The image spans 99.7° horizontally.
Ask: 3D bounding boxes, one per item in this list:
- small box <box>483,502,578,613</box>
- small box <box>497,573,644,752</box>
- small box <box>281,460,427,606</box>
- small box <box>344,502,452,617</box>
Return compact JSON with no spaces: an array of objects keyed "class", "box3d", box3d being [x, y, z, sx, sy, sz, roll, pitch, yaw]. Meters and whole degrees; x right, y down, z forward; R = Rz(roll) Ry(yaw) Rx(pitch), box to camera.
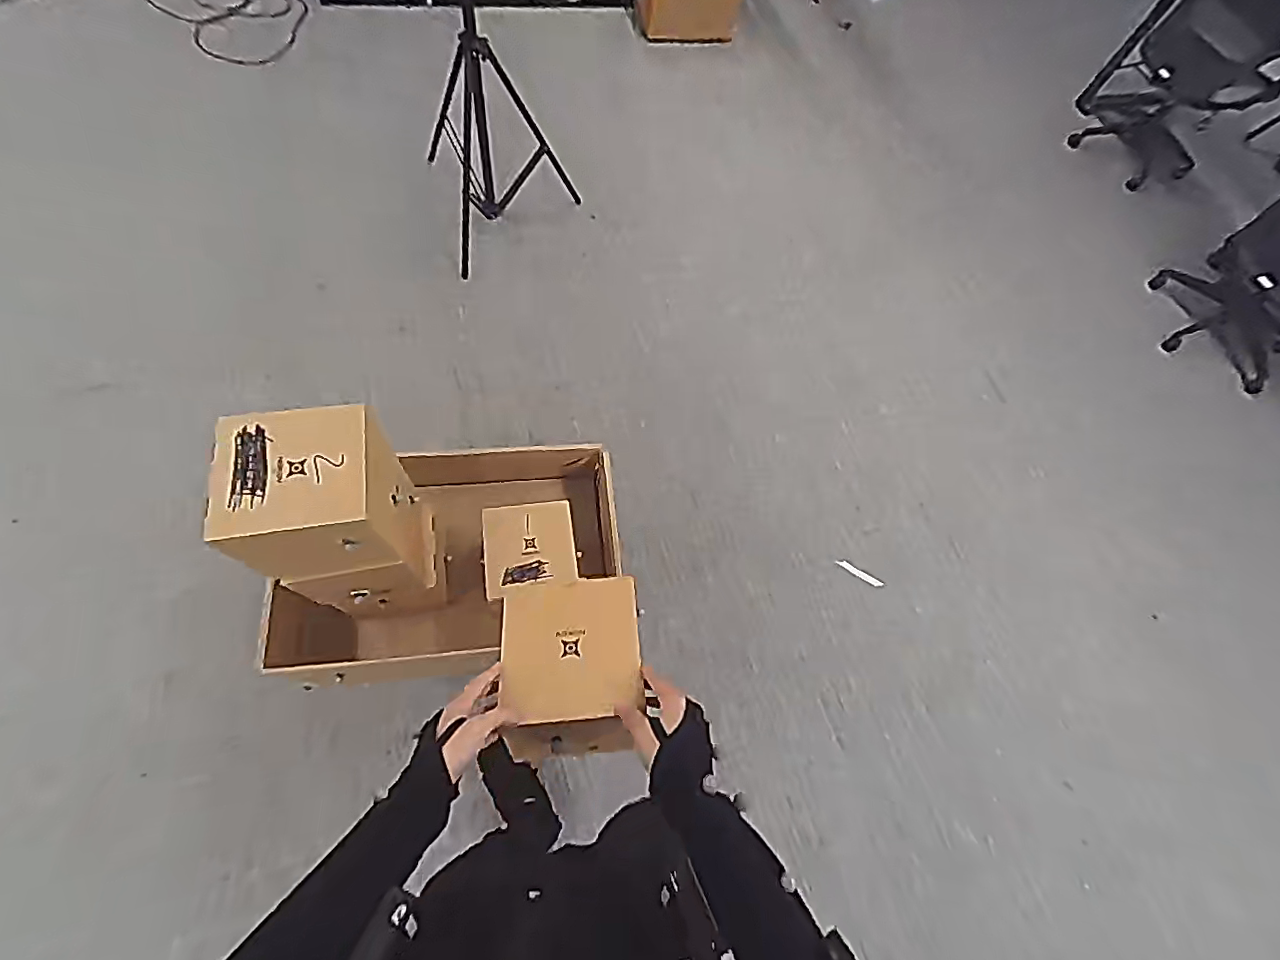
[{"class":"small box","box3d":[-0.212,0.159,1.063,0.168,0.176,0.179,-6,67,-11]},{"class":"small box","box3d":[-0.085,0.243,0.706,0.168,0.176,0.179,-3,50,-6]},{"class":"small box","box3d":[-0.451,0.090,0.875,0.168,0.176,0.179,-9,68,-12]},{"class":"small box","box3d":[-0.464,0.156,1.024,0.179,0.176,0.168,-6,68,-12]}]
